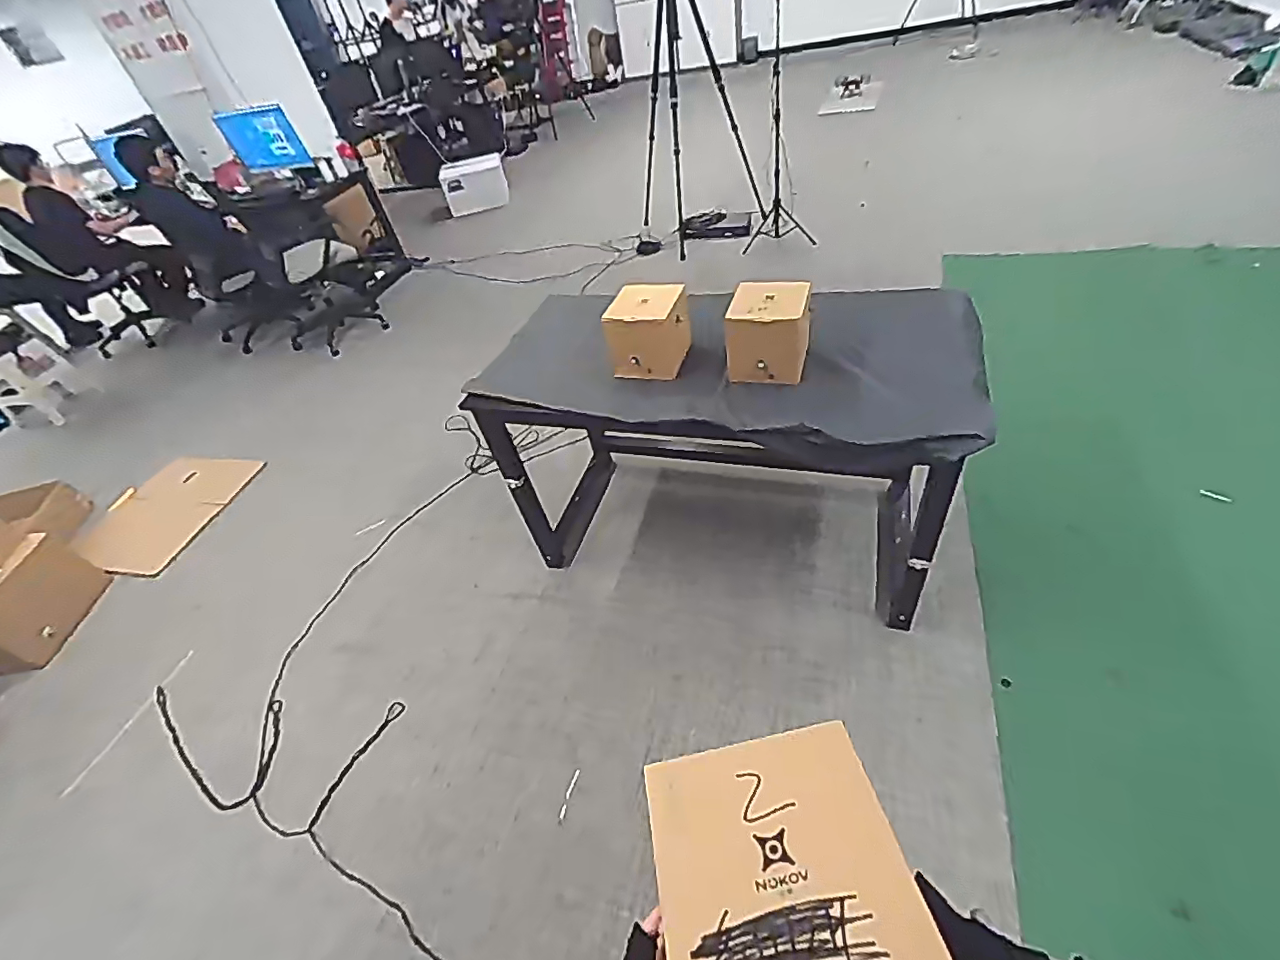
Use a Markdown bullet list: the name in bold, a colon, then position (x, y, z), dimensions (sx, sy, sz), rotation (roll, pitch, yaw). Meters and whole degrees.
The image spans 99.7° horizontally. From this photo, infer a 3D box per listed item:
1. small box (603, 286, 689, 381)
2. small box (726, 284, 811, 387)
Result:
- **small box**: position (0.023, -0.373, 1.371), dimensions (0.168, 0.176, 0.179), rotation (8, 47, 19)
- **small box**: position (0.302, -0.342, 1.272), dimensions (0.168, 0.176, 0.179), rotation (7, 47, 20)
